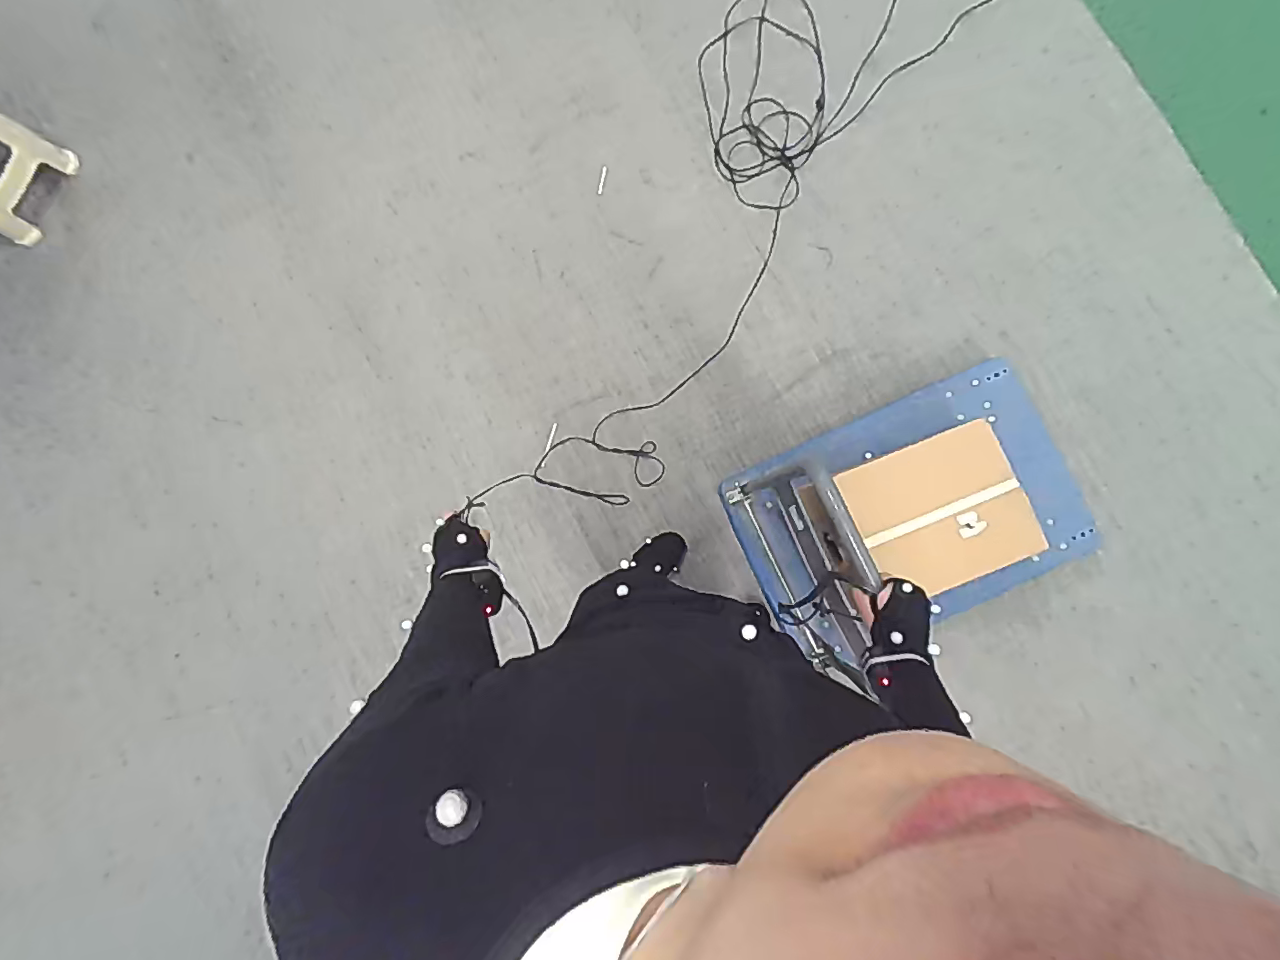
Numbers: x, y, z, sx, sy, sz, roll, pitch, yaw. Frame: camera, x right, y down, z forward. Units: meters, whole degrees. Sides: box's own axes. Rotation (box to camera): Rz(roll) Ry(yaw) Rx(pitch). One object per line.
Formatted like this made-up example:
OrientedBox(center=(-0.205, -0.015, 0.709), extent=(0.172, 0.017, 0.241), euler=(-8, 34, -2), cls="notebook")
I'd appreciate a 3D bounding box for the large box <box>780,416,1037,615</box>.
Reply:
OrientedBox(center=(0.614, 0.091, 1.315), extent=(0.408, 0.320, 0.320), euler=(-22, 85, -1), cls="large box")
